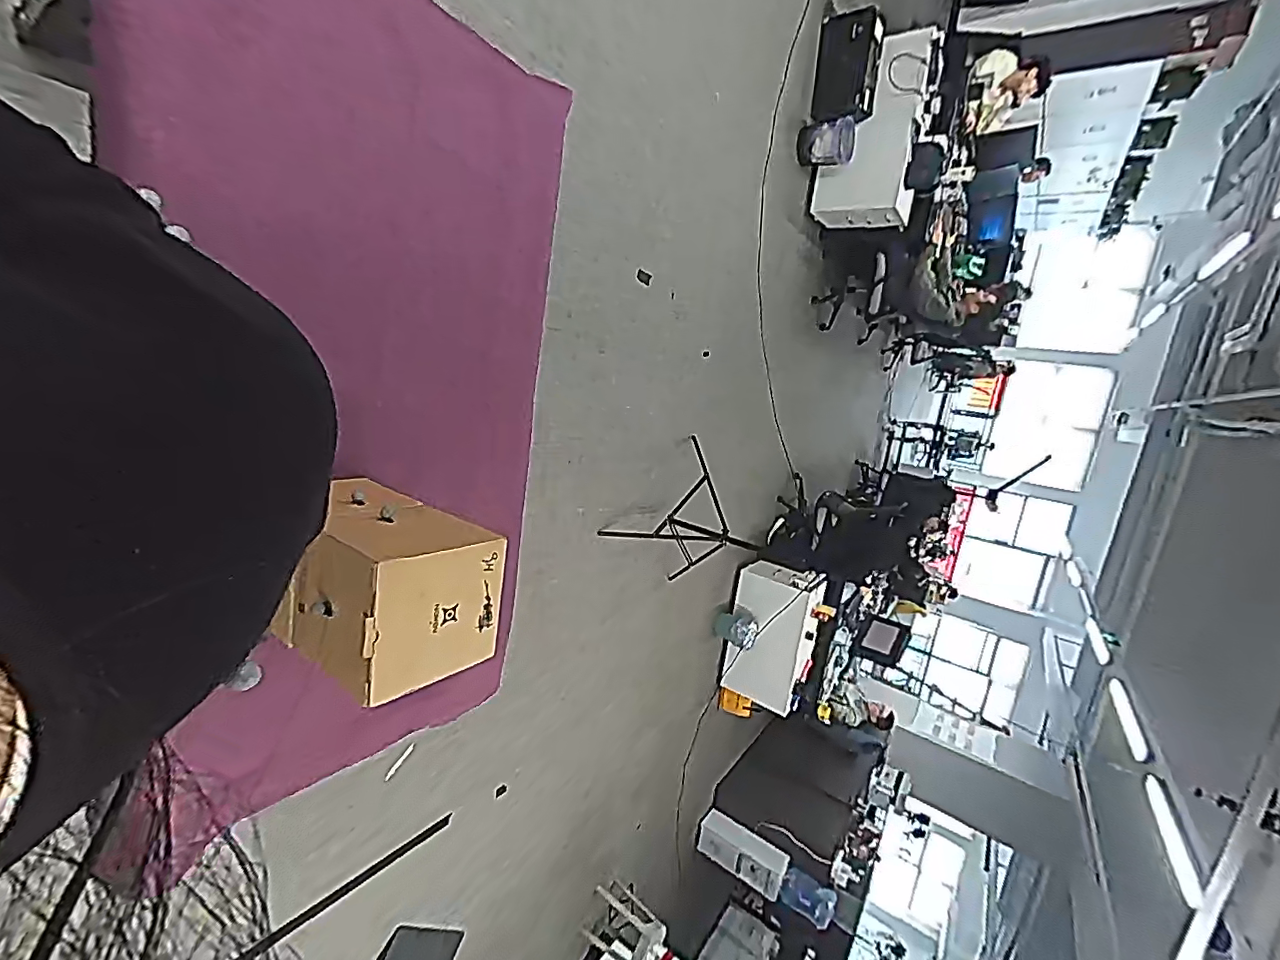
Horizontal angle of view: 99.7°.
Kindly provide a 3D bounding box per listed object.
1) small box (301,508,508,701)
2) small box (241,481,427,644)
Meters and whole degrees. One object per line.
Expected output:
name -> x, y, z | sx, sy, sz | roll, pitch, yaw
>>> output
small box -> -0.293, 0.137, 0.673 | 0.179, 0.176, 0.168 | -5, 106, -56
small box -> -0.429, 0.101, 0.757 | 0.179, 0.176, 0.168 | -7, 108, -56
